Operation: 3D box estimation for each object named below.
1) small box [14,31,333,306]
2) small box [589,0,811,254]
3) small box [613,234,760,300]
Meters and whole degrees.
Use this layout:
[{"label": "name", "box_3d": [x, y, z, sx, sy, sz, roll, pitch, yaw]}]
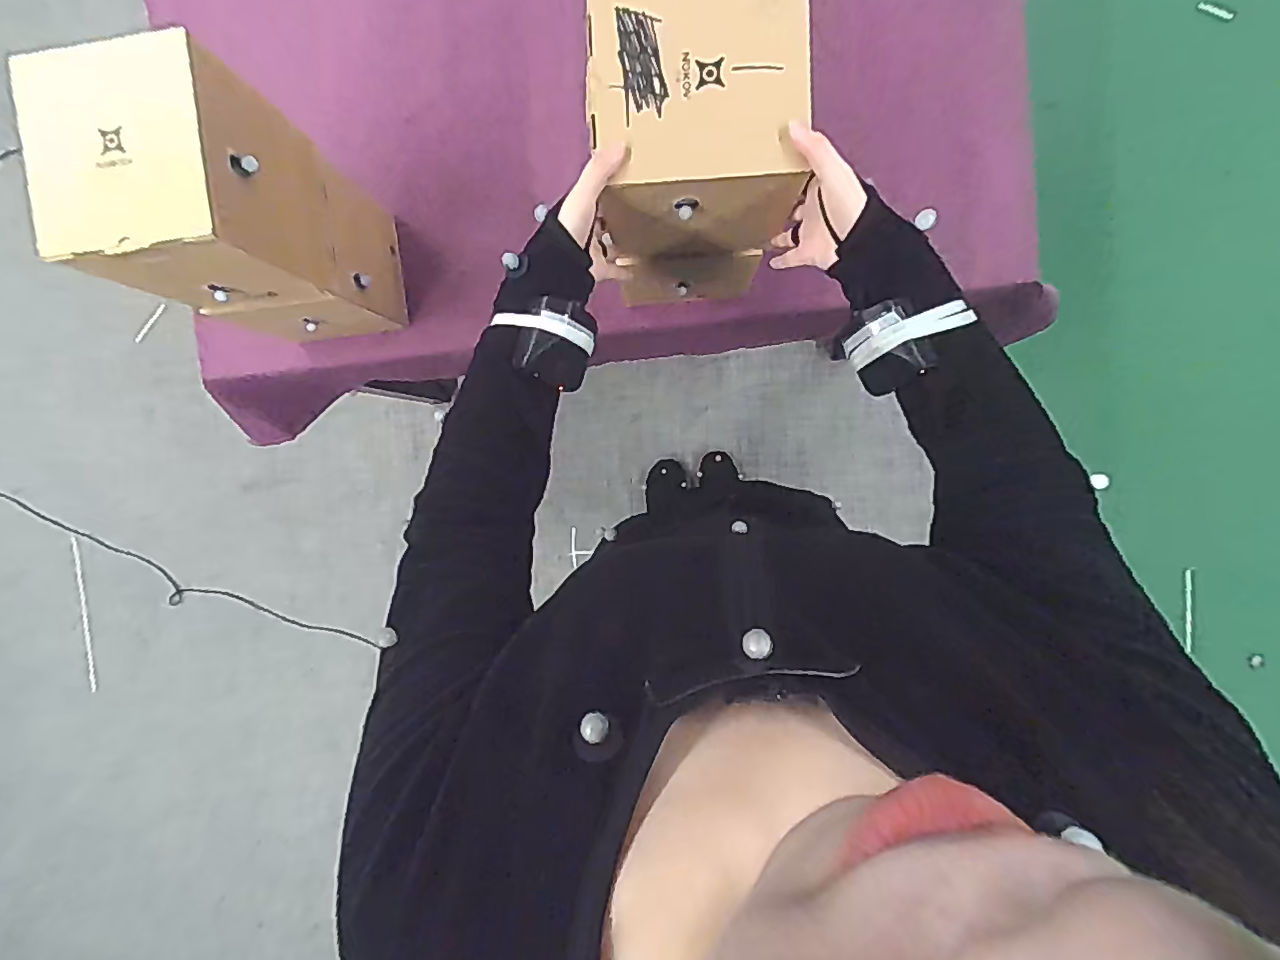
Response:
[{"label": "small box", "box_3d": [-0.442, -0.290, 0.543, 0.168, 0.176, 0.179, -5, 94, 4]}, {"label": "small box", "box_3d": [0.053, -0.325, 0.510, 0.179, 0.176, 0.168, -2, 94, 3]}, {"label": "small box", "box_3d": [0.055, -0.332, 0.675, 0.168, 0.176, 0.179, -2, 93, 3]}]
